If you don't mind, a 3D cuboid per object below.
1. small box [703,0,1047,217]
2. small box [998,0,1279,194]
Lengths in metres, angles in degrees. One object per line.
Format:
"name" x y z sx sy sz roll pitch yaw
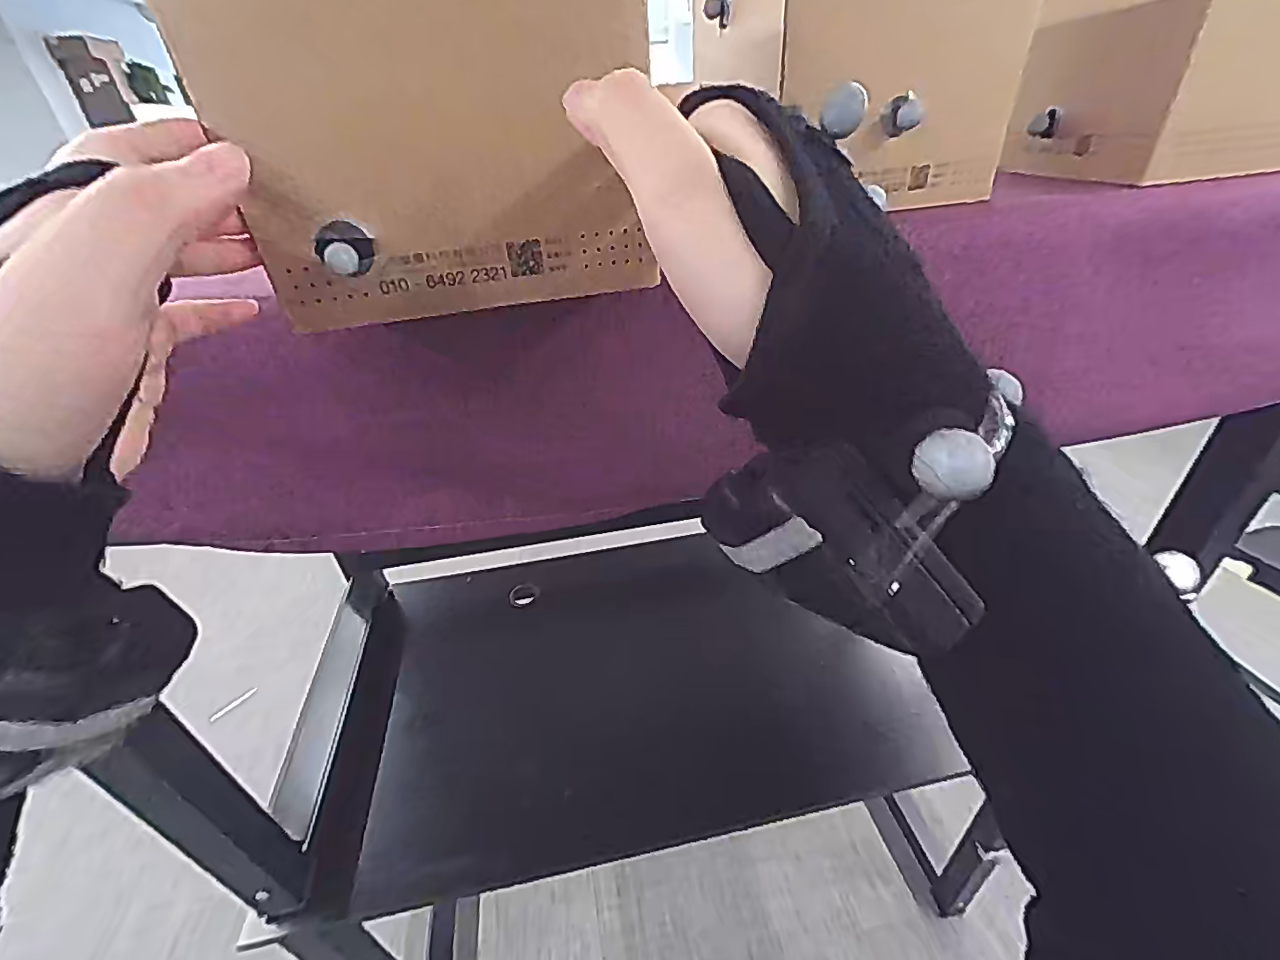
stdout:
"small box" 0.146 -0.294 0.391 0.168 0.176 0.179 -10 34 -8
"small box" 0.424 -0.329 0.414 0.179 0.176 0.168 -9 33 -5
